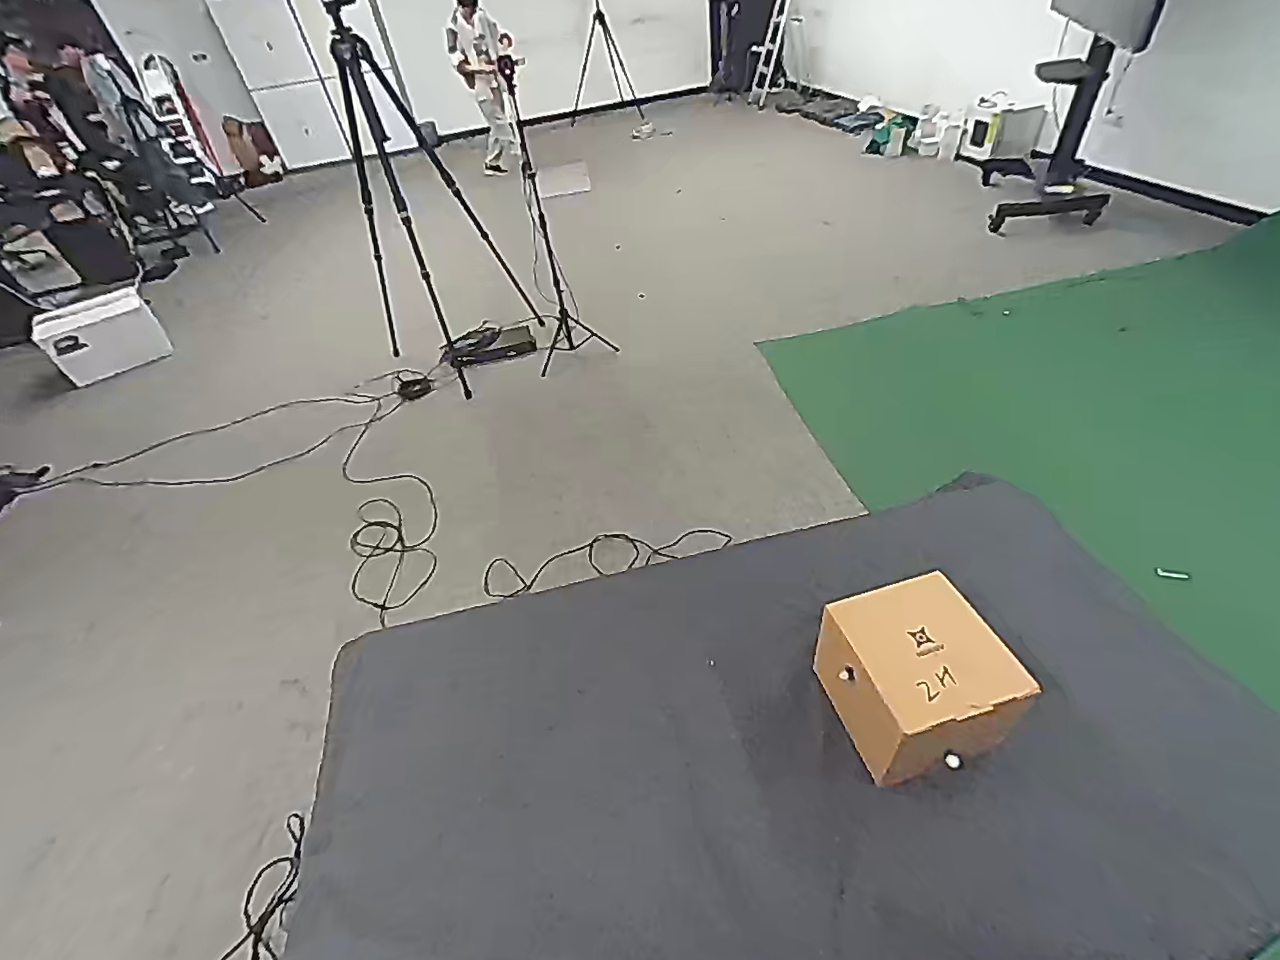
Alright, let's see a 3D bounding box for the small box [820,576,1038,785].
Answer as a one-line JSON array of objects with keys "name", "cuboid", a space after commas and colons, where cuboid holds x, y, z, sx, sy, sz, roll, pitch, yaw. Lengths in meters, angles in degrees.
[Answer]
[{"name": "small box", "cuboid": [0.351, 0.259, 0.702, 0.168, 0.176, 0.179, -15, 43, -5]}]
